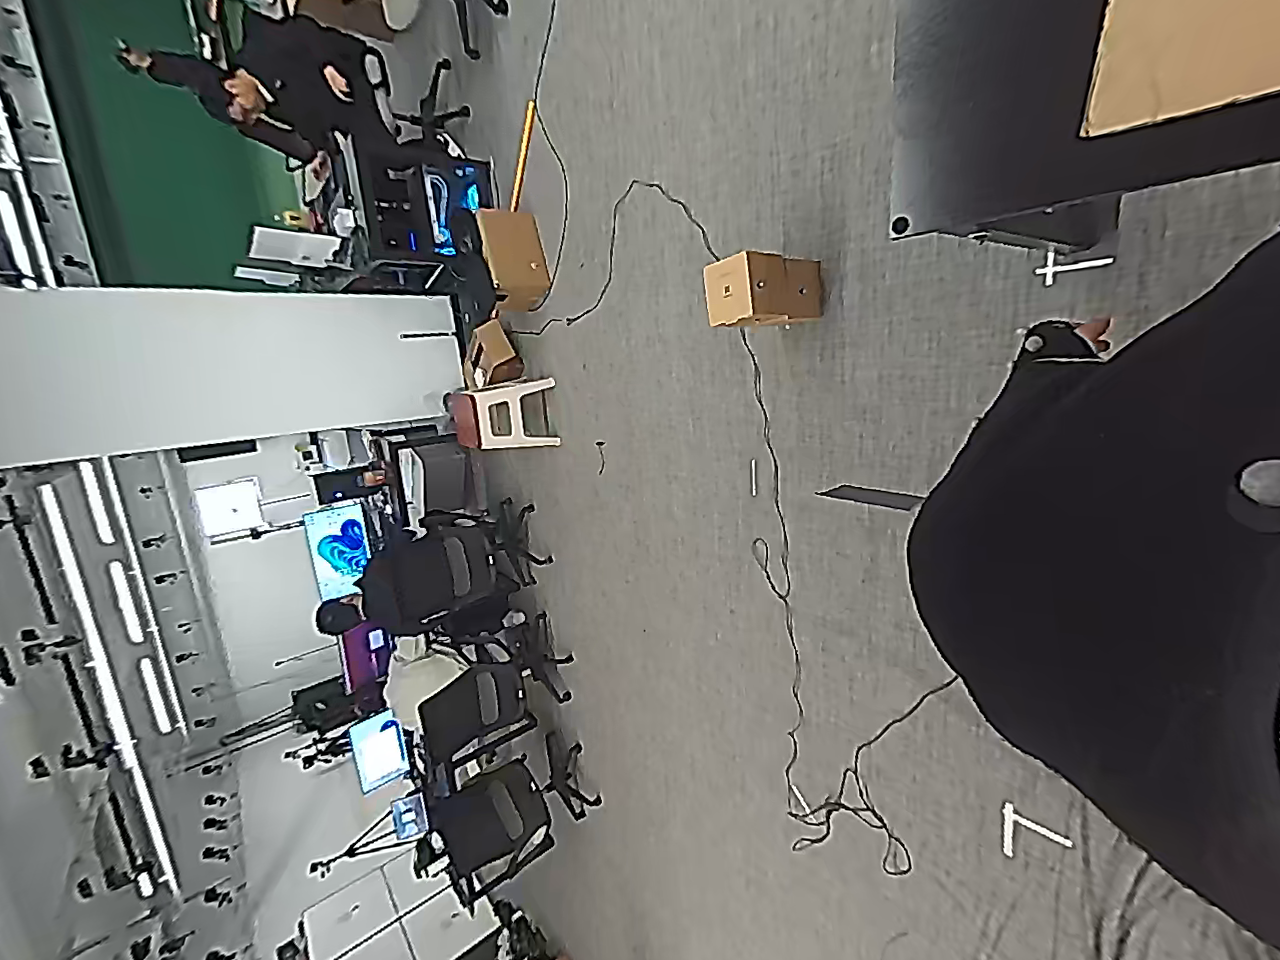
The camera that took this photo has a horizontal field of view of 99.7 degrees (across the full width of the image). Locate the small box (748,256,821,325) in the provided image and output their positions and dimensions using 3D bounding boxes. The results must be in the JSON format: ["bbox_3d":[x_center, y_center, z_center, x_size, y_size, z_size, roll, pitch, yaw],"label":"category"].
[{"bbox_3d":[0.443,-0.581,1.673,0.168,0.176,0.179,7,107,52],"label":"small box"}]

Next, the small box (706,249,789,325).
[{"bbox_3d":[0.316,-0.556,1.575,0.168,0.176,0.179,2,102,52],"label":"small box"}]
